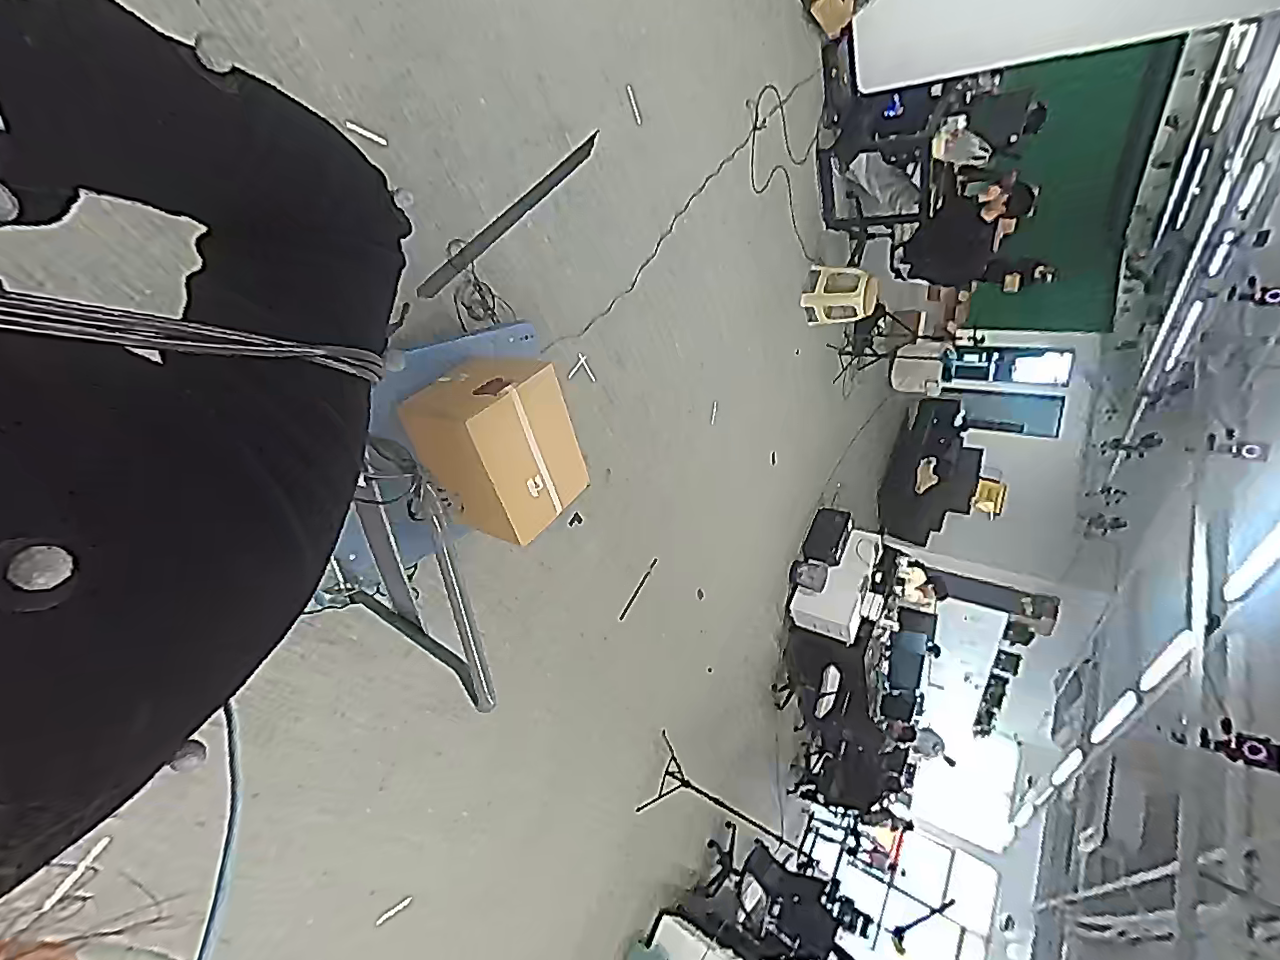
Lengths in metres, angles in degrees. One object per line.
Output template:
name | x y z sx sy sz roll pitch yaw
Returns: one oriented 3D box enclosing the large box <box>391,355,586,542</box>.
large box | -0.408 -0.099 1.520 0.320 0.320 0.408 -46 136 -37
